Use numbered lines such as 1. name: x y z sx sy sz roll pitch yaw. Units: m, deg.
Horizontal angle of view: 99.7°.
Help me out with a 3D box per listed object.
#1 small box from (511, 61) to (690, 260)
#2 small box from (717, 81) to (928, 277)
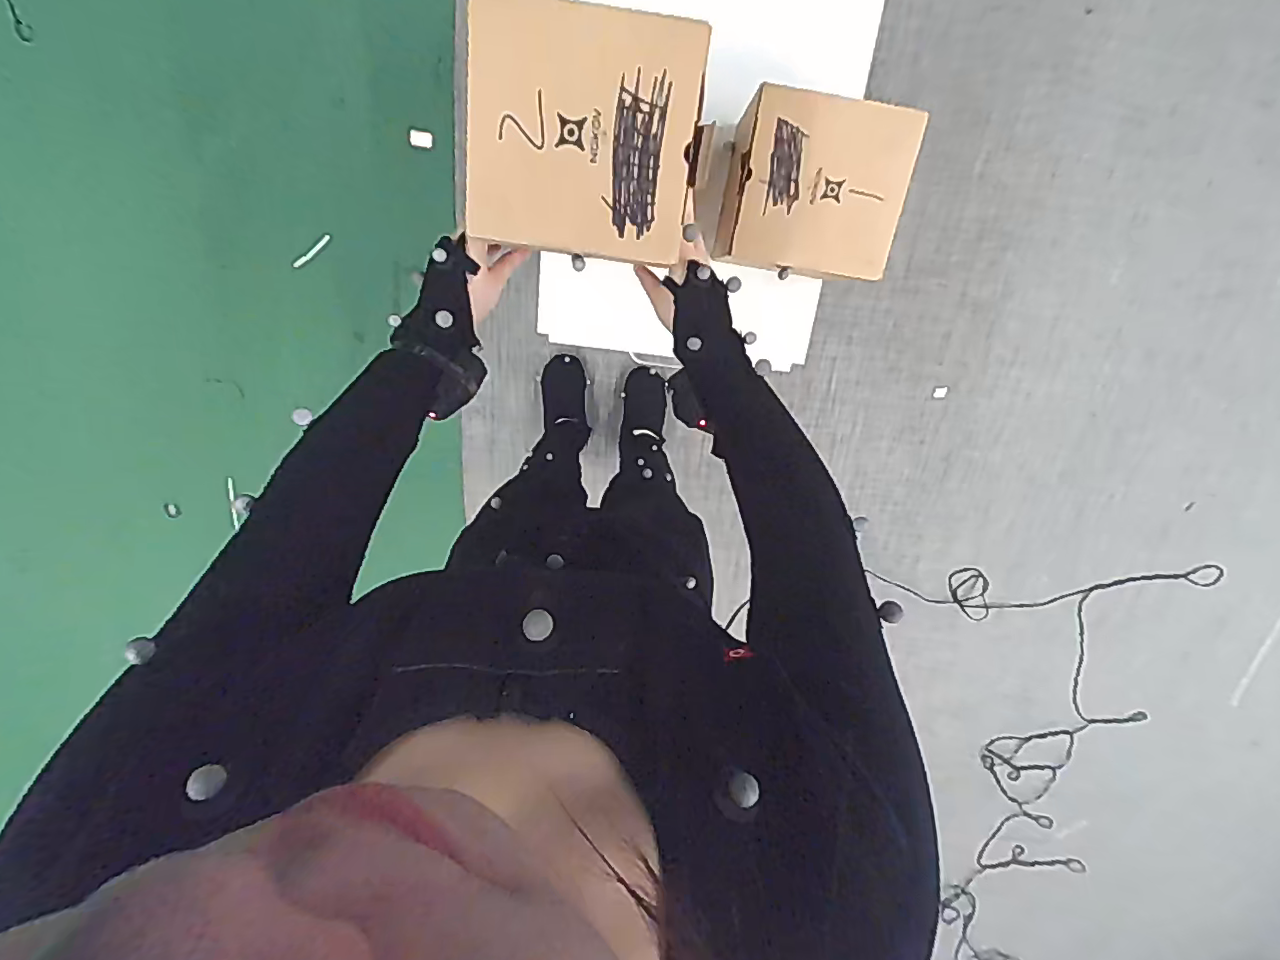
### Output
1. small box: -0.046 -0.359 0.642 0.179 0.176 0.168 6 112 -4
2. small box: 0.198 -0.343 0.651 0.179 0.176 0.168 8 111 -3
